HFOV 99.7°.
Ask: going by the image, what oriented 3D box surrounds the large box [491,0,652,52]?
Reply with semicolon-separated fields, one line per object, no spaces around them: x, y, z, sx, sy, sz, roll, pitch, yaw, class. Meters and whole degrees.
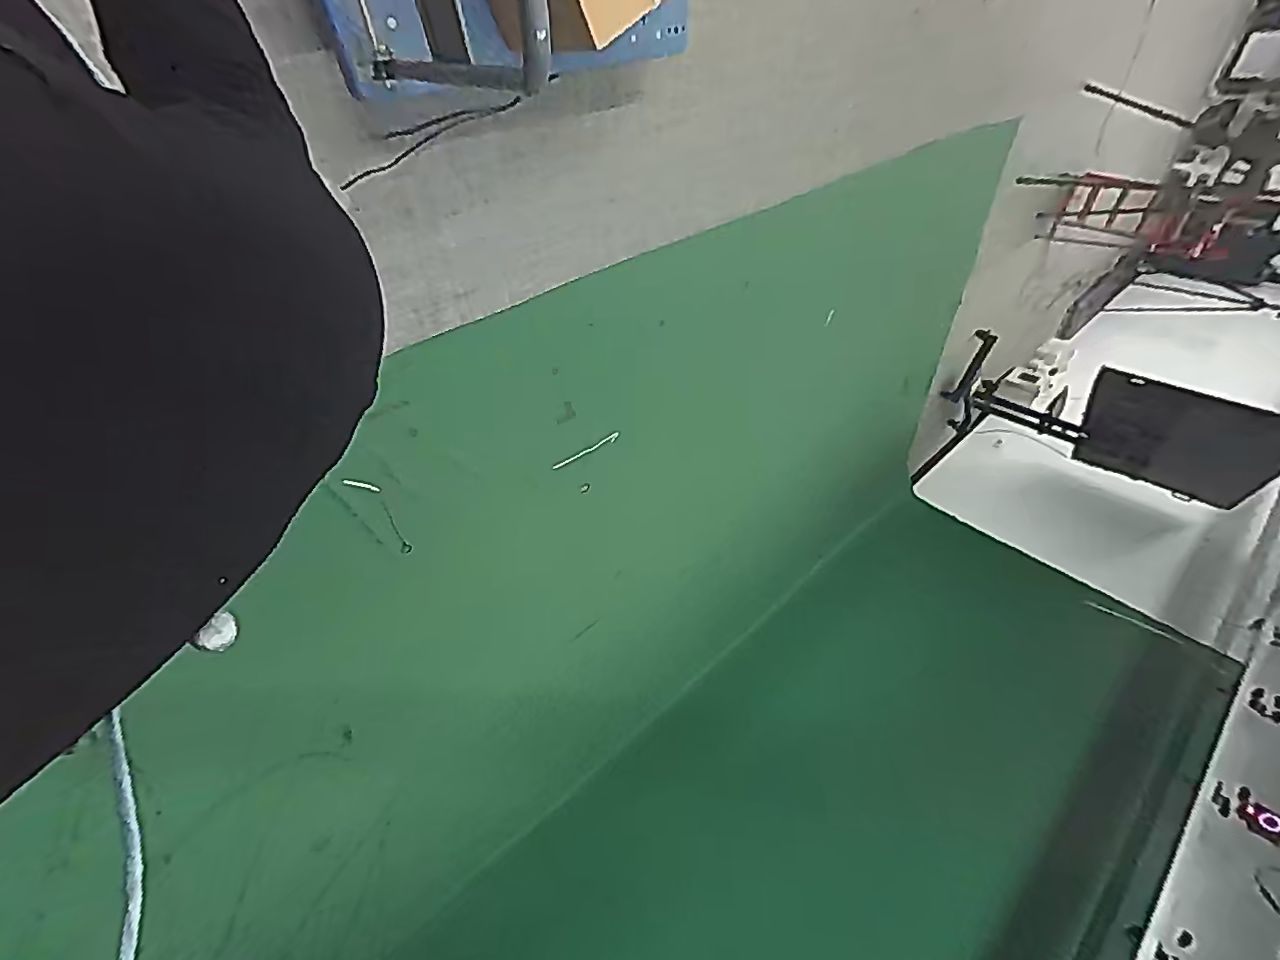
-0.144;-1.057;0.940;0.320;0.320;0.408;-47;142;-10;large box
